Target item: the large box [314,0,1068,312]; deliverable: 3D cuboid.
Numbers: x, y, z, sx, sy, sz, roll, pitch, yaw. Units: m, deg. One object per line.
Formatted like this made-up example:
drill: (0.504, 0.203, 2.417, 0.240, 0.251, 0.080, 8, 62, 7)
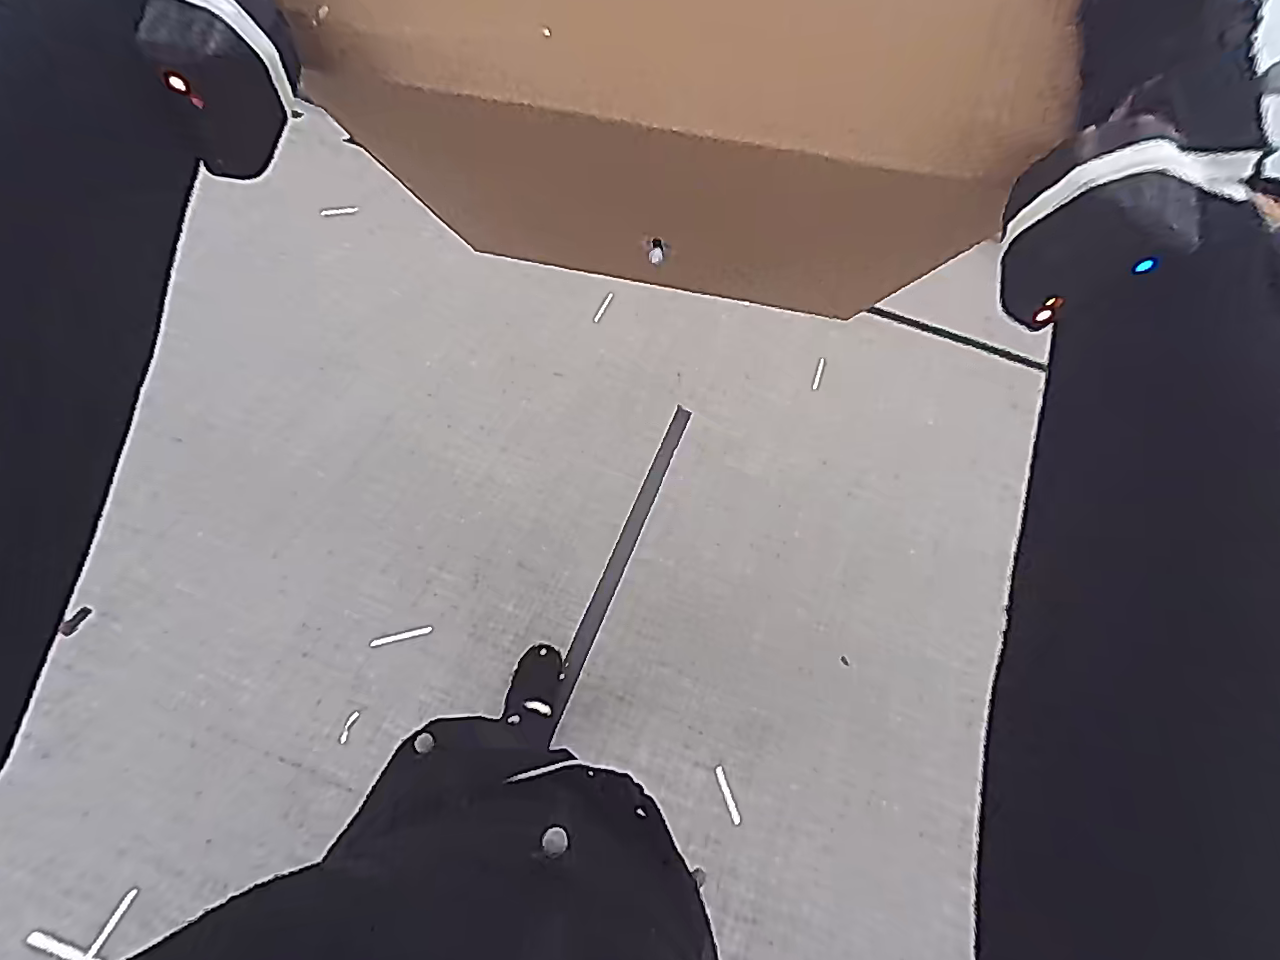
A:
large box: (0.046, -0.345, 0.429, 0.408, 0.320, 0.320, 11, 94, 2)
